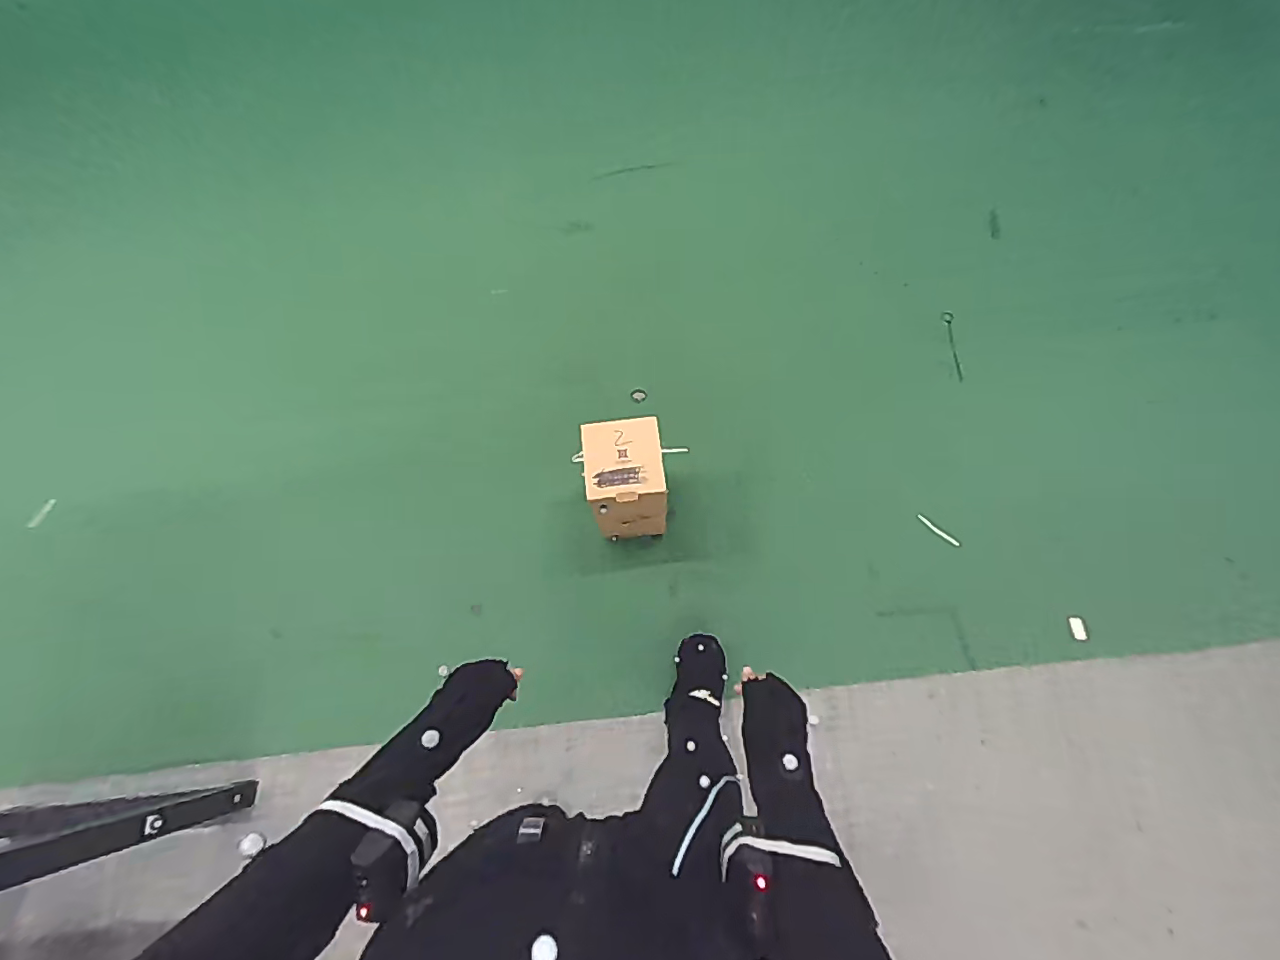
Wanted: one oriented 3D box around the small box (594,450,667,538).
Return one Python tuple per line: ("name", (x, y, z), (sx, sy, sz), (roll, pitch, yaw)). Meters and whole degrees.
("small box", (-0.021, 0.042, 1.360), (0.168, 0.176, 0.179), (-5, 69, 0))
